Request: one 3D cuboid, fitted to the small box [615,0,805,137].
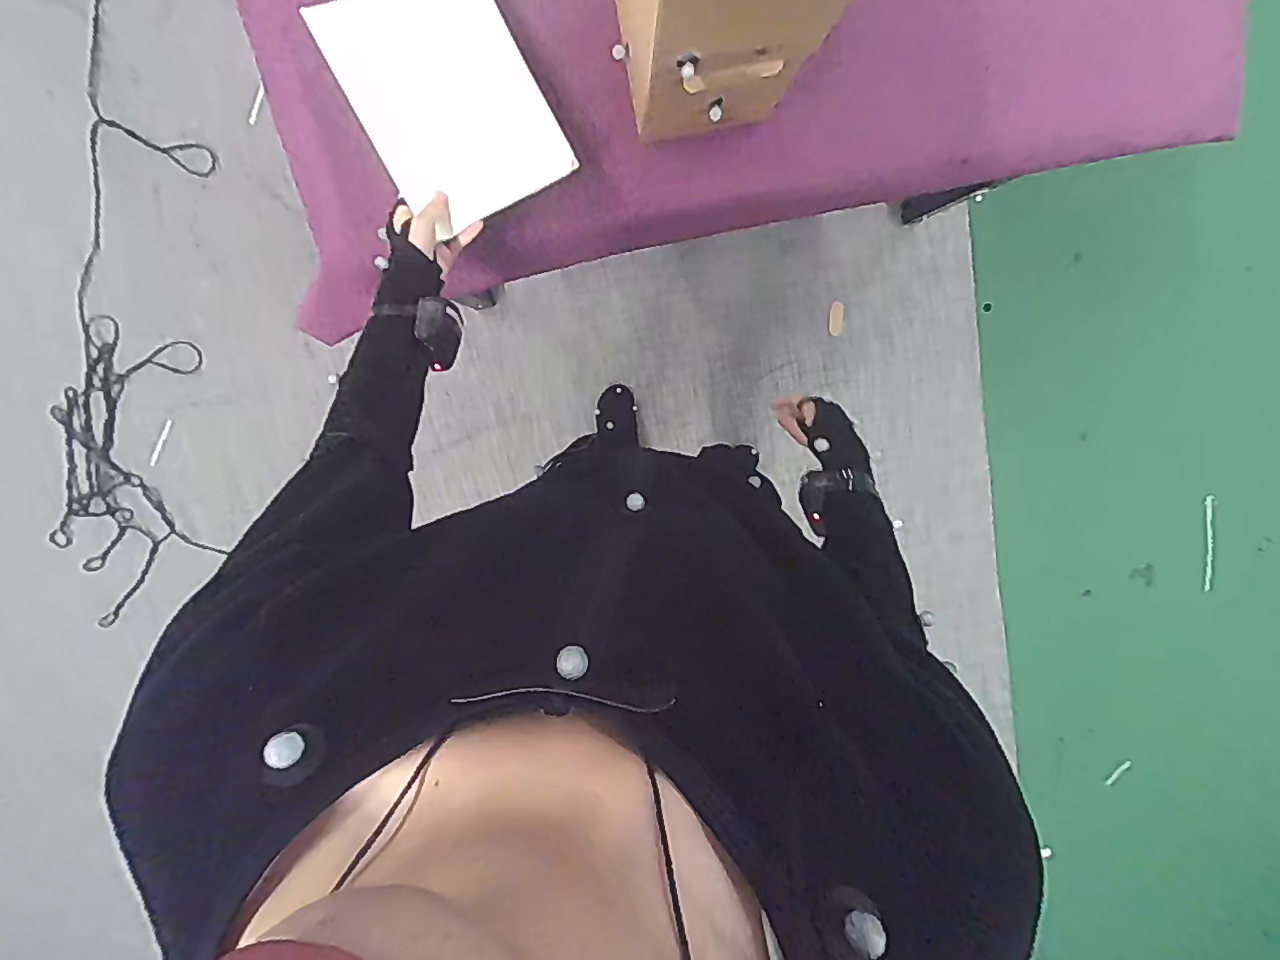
[{"bbox_3d":[0.067,-0.505,0.592,0.168,0.176,0.179,-12,103,-1],"label":"small box"}]

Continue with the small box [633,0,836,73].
[{"bbox_3d":[0.076,-0.465,0.431,0.168,0.176,0.179,-11,101,-1],"label":"small box"}]
